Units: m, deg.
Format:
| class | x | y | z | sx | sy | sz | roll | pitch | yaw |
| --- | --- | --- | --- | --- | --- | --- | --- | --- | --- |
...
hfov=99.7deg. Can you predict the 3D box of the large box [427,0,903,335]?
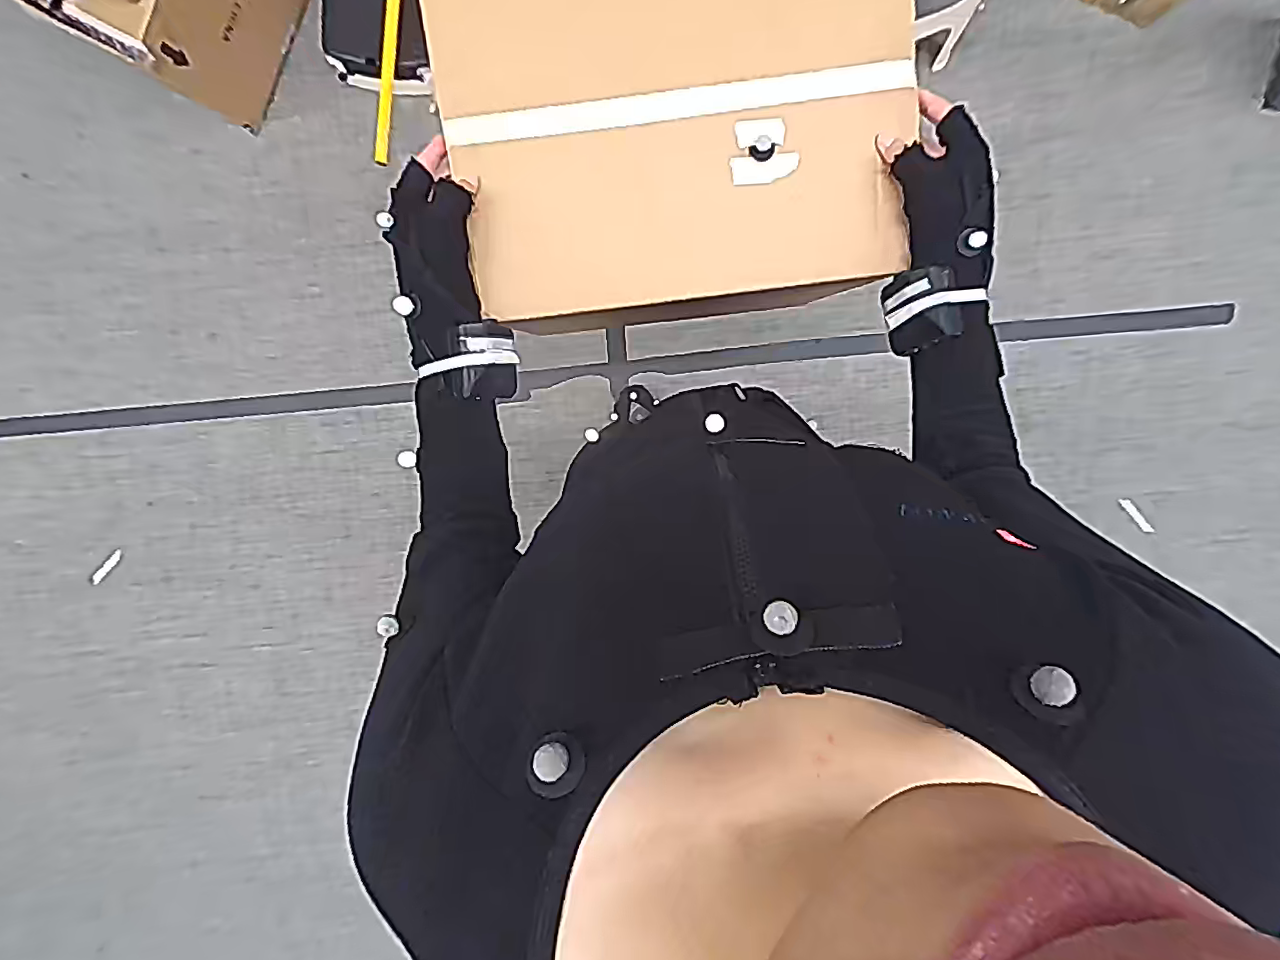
| class | x | y | z | sx | sy | sz | roll | pitch | yaw |
| --- | --- | --- | --- | --- | --- | --- | --- | --- | --- |
| large box | 0.025 | -0.357 | 0.621 | 0.408 | 0.320 | 0.320 | -7 | 103 | 0 |
